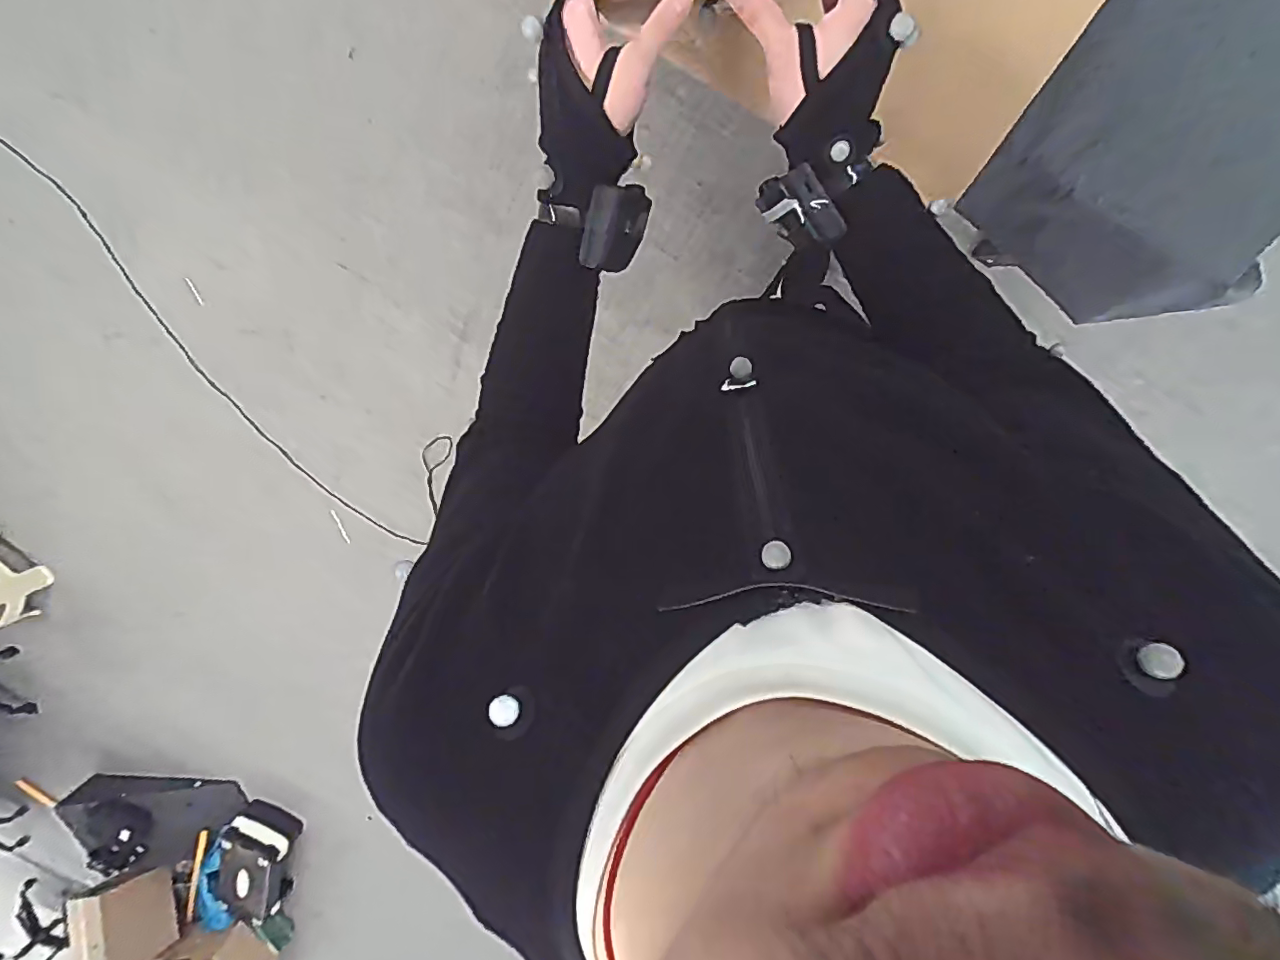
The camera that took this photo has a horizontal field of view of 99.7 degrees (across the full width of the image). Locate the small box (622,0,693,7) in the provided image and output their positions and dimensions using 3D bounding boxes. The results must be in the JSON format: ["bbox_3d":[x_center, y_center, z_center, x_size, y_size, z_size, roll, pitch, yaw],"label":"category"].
[{"bbox_3d":[0.048,-0.446,0.362,0.168,0.176,0.179,-4,124,7],"label":"small box"}]
